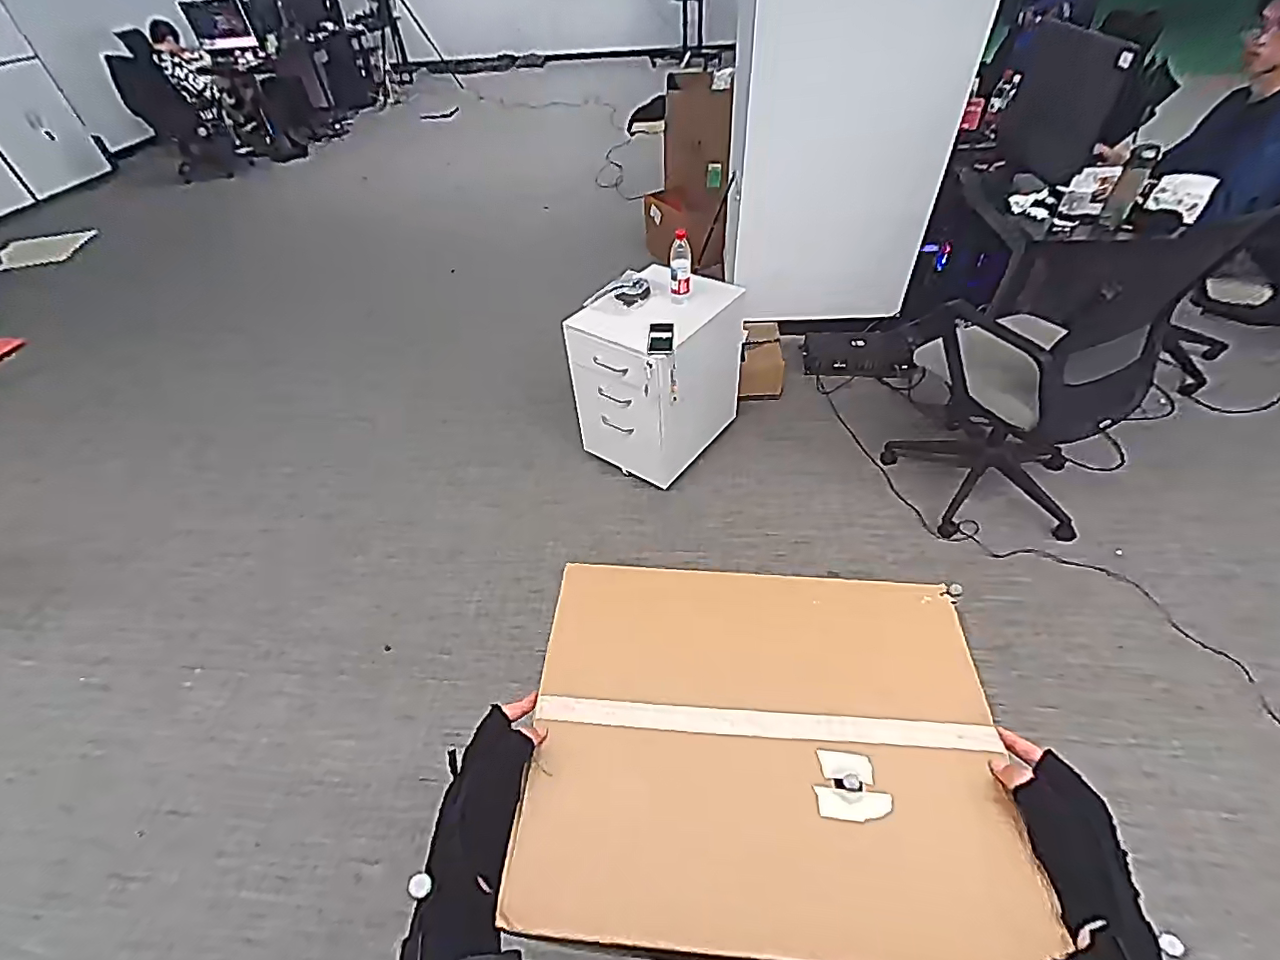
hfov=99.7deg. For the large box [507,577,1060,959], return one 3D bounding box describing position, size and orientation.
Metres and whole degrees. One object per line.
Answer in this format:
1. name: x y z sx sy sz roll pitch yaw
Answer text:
1. large box: 0.108 0.327 0.593 0.408 0.320 0.320 3 49 4
